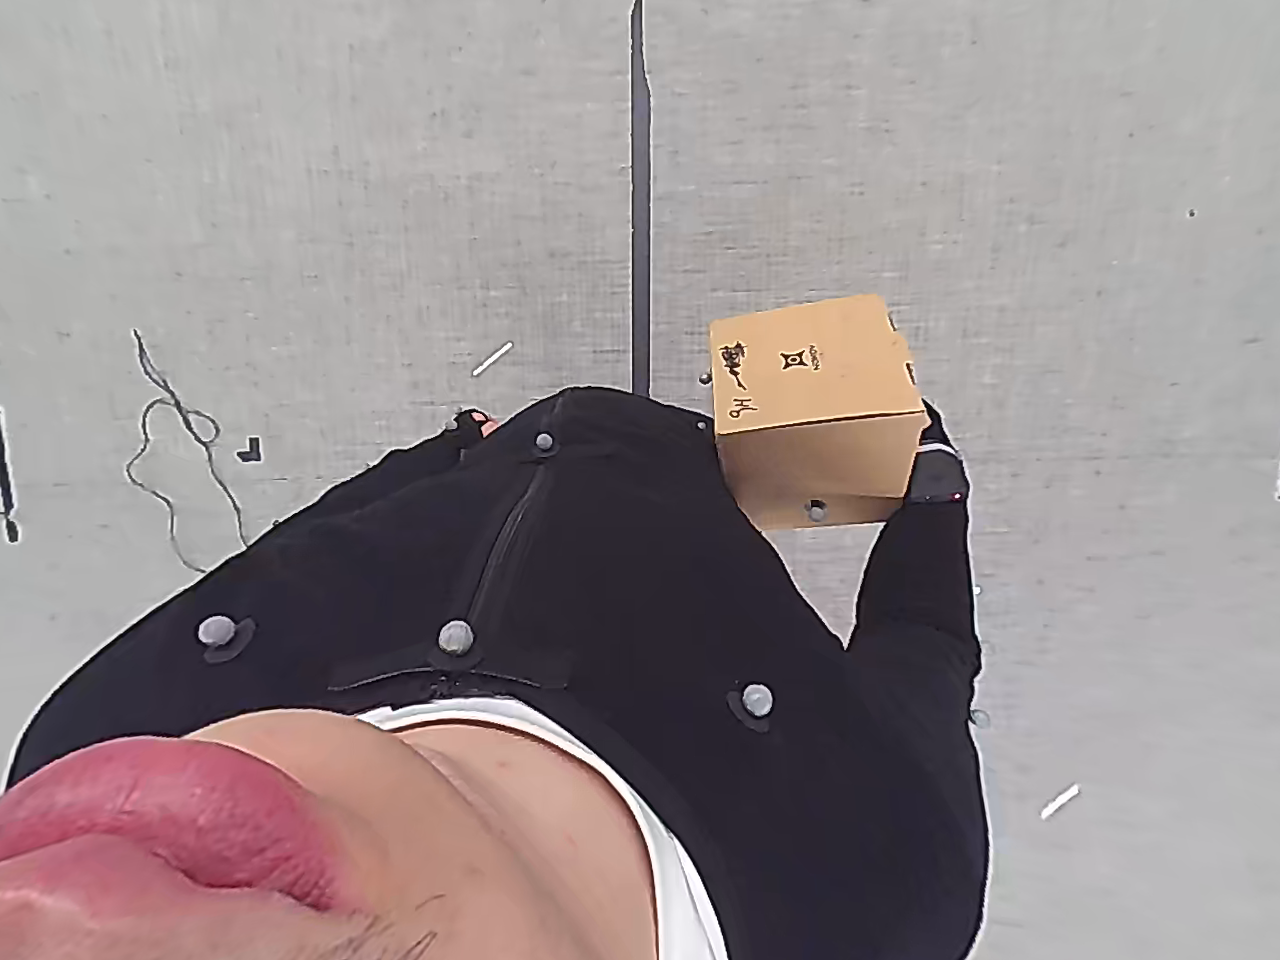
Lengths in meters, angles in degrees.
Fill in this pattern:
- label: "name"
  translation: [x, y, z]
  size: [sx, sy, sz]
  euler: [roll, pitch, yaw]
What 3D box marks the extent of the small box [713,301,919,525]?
- label: "small box"
  translation: [0.177, -0.066, 0.591]
  size: [0.179, 0.168, 0.176]
  euler: [-6, 140, 11]
